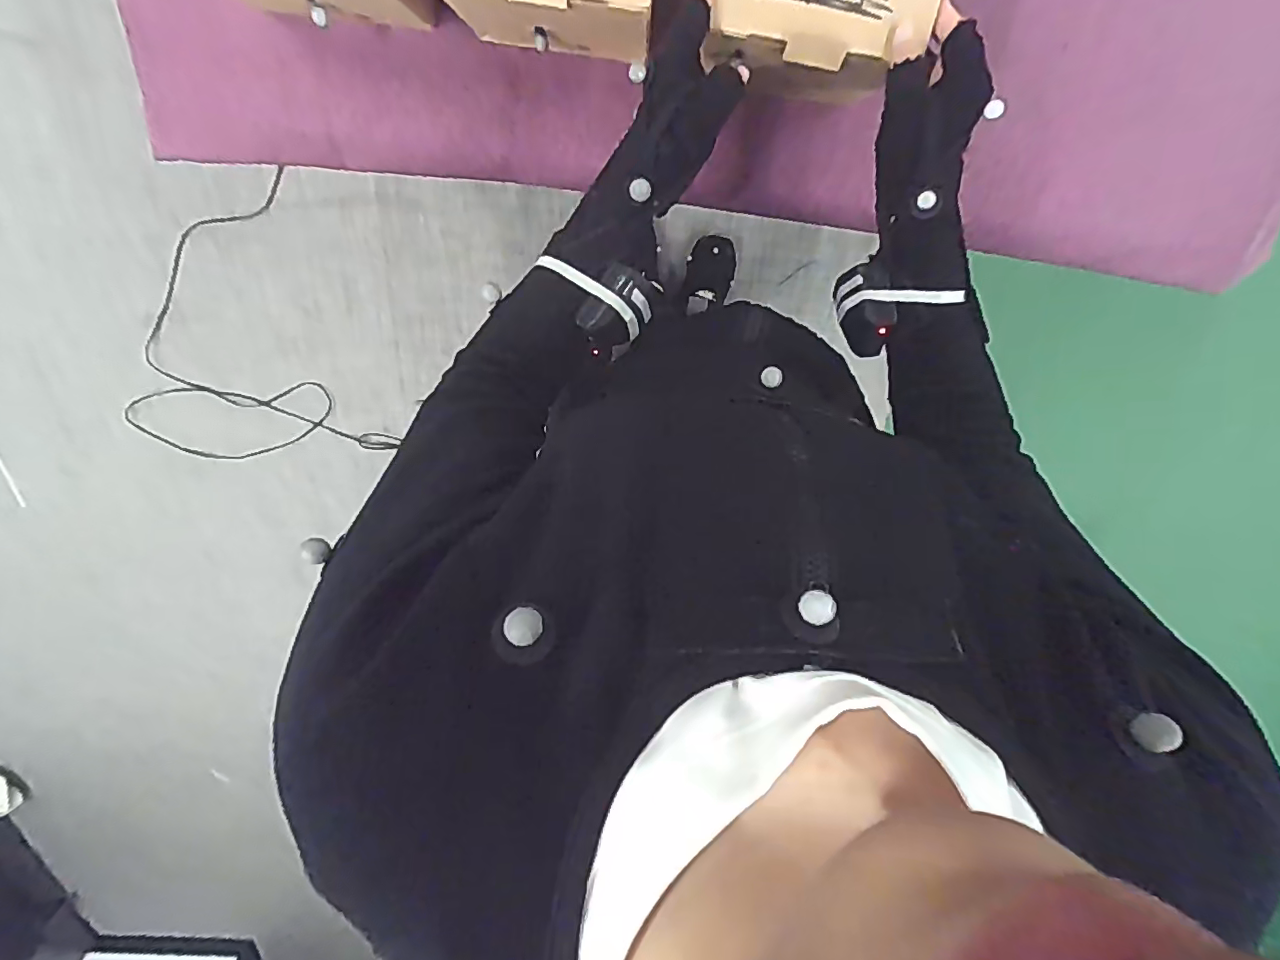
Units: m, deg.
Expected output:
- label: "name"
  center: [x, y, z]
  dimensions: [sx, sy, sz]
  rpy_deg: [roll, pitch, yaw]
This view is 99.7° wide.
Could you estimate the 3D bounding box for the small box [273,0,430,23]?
- label: "small box"
  center: [-0.272, -0.489, 0.409]
  dimensions: [0.168, 0.176, 0.179]
  rpy_deg: [5, 118, -3]
